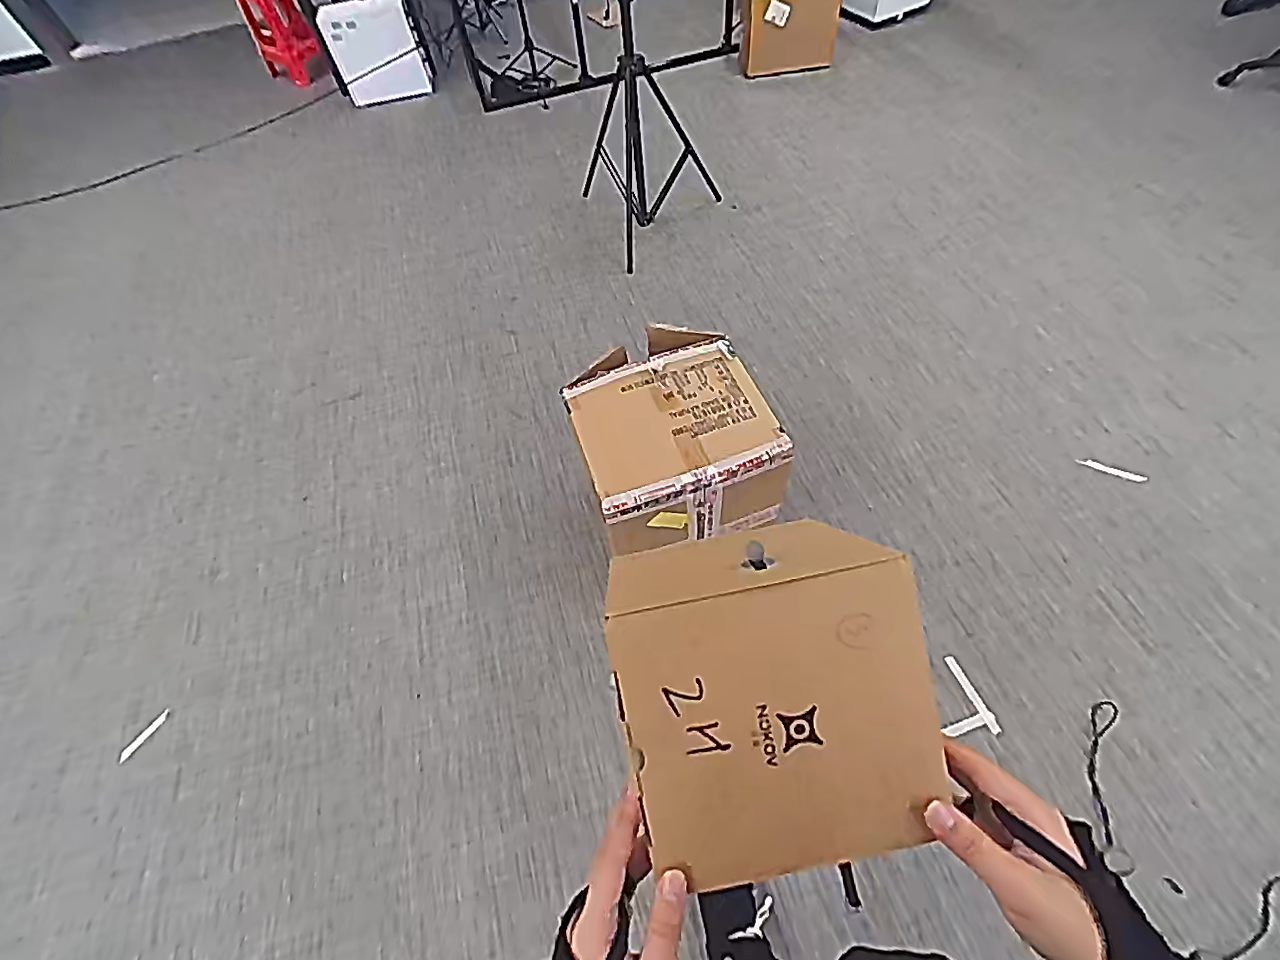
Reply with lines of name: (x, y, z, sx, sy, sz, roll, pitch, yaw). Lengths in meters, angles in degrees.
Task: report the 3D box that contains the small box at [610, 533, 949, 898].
small box: (0.078, 0.140, 0.387, 0.179, 0.176, 0.168, -11, 92, -1)
